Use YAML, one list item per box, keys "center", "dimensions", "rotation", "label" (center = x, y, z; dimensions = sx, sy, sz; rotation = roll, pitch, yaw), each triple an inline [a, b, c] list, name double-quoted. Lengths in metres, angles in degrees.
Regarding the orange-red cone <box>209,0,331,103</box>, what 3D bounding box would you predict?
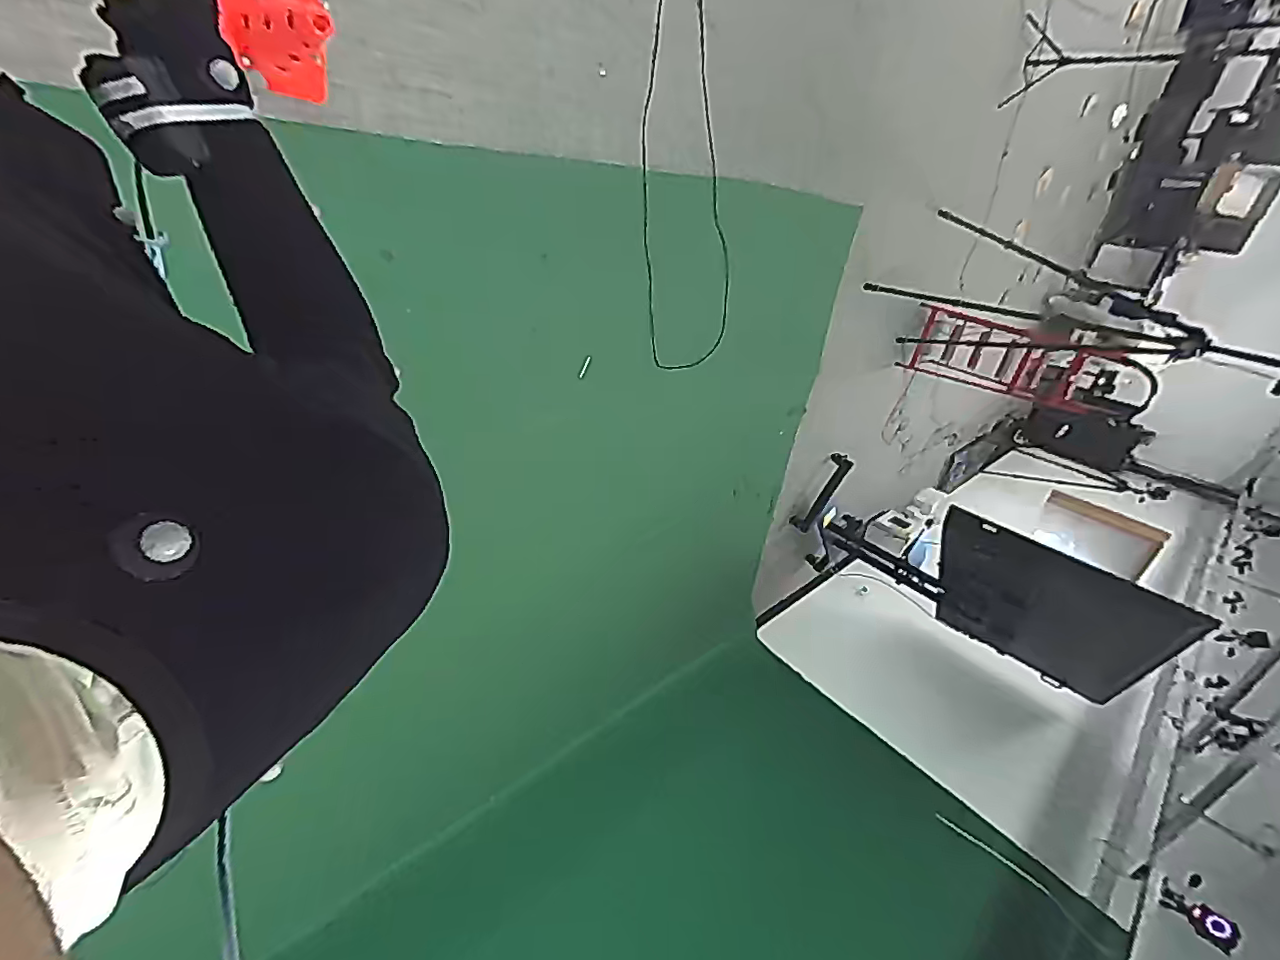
- center: [-0.663, -0.850, 1.027]
  dimensions: [0.199, 0.360, 0.198]
  rotation: [-12, 125, -44]
  label: "orange-red cone"
